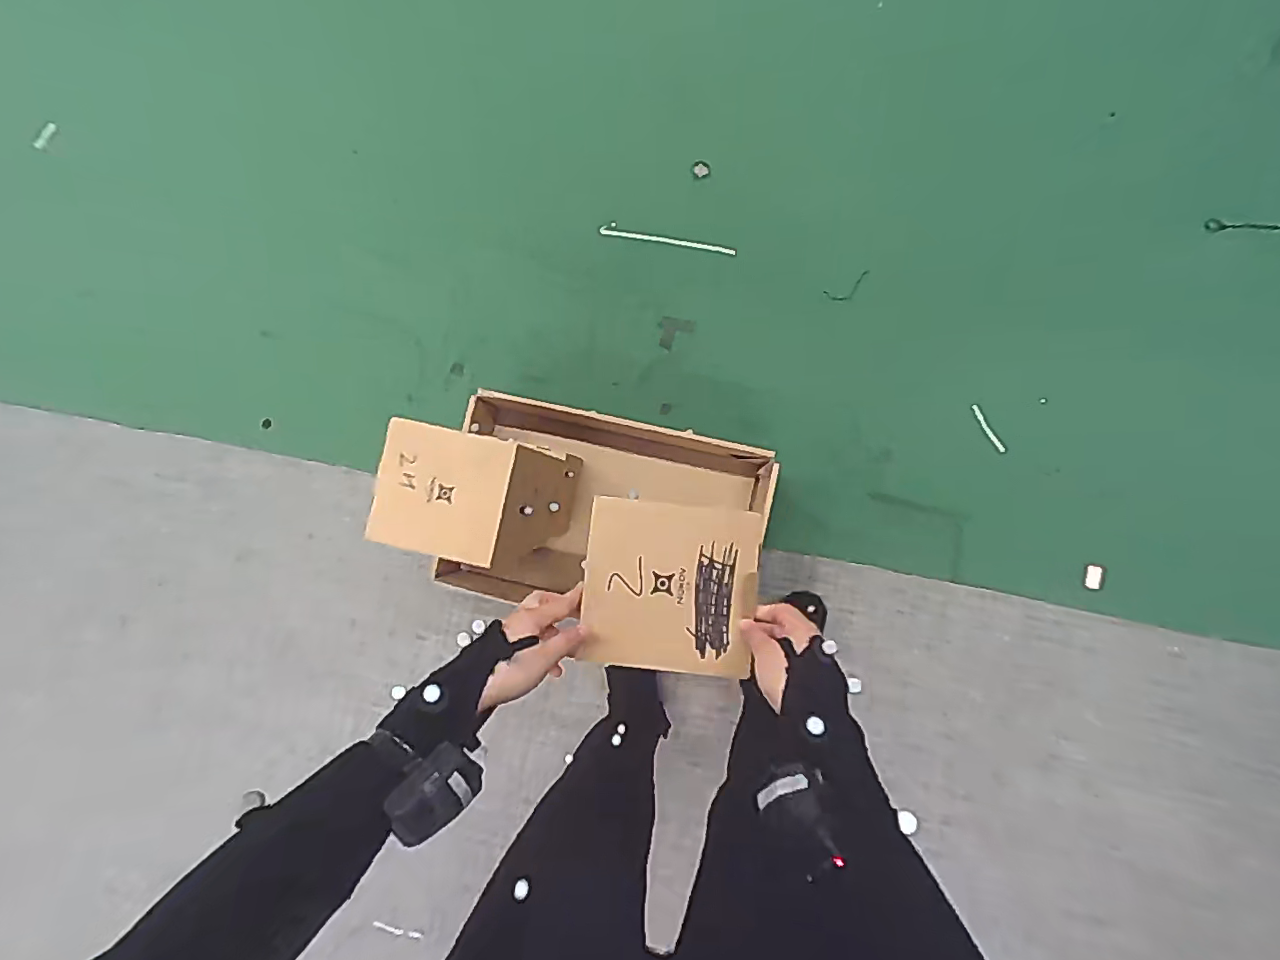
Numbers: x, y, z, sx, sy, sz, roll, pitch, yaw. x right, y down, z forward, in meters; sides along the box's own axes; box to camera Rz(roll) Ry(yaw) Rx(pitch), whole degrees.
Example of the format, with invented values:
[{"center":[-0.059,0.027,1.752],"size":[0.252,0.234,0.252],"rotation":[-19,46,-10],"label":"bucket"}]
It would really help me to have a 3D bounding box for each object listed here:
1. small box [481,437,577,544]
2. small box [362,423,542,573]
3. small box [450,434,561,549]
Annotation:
[{"center":[-0.233,0.021,1.099],"size":[0.168,0.176,0.179],"rotation":[12,89,4],"label":"small box"},{"center":[-0.253,0.024,0.770],"size":[0.179,0.176,0.168],"rotation":[12,89,5],"label":"small box"},{"center":[-0.252,0.024,0.936],"size":[0.179,0.176,0.168],"rotation":[13,90,3],"label":"small box"}]
